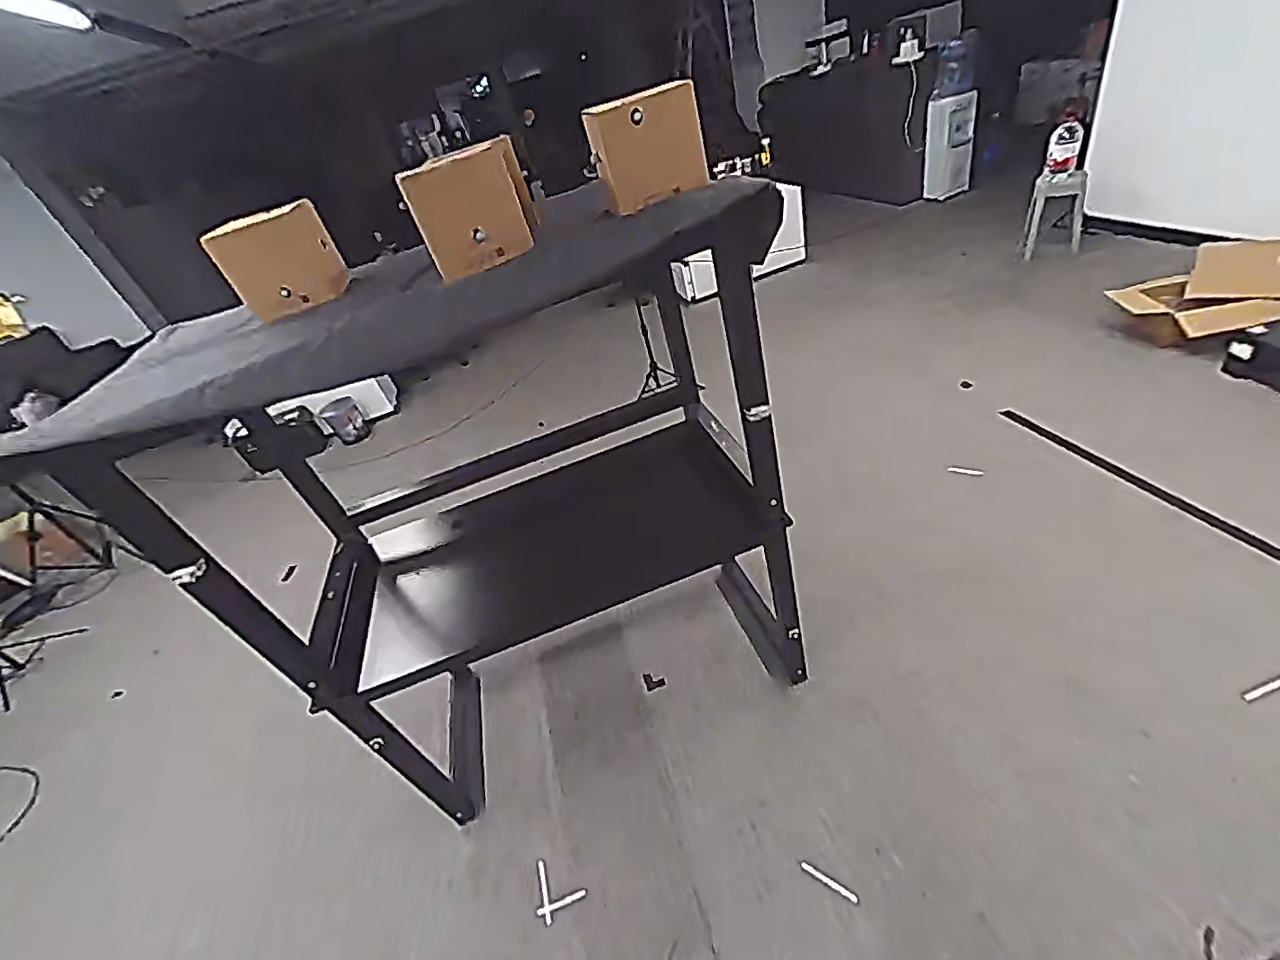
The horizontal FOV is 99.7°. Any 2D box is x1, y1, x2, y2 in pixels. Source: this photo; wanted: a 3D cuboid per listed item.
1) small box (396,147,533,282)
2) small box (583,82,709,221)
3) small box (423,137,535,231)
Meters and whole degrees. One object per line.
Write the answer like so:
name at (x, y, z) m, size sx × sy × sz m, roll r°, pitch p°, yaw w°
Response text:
small box at (-0.309, -0.466, 0.954) m, size 0.168 × 0.176 × 0.179 m, roll -26°, pitch 37°, yaw -11°
small box at (0.010, -0.576, 0.958) m, size 0.168 × 0.176 × 0.179 m, roll -20°, pitch 35°, yaw -1°
small box at (-0.327, -0.596, 1.131) m, size 0.179 × 0.176 × 0.168 m, roll -20°, pitch 35°, yaw -3°
